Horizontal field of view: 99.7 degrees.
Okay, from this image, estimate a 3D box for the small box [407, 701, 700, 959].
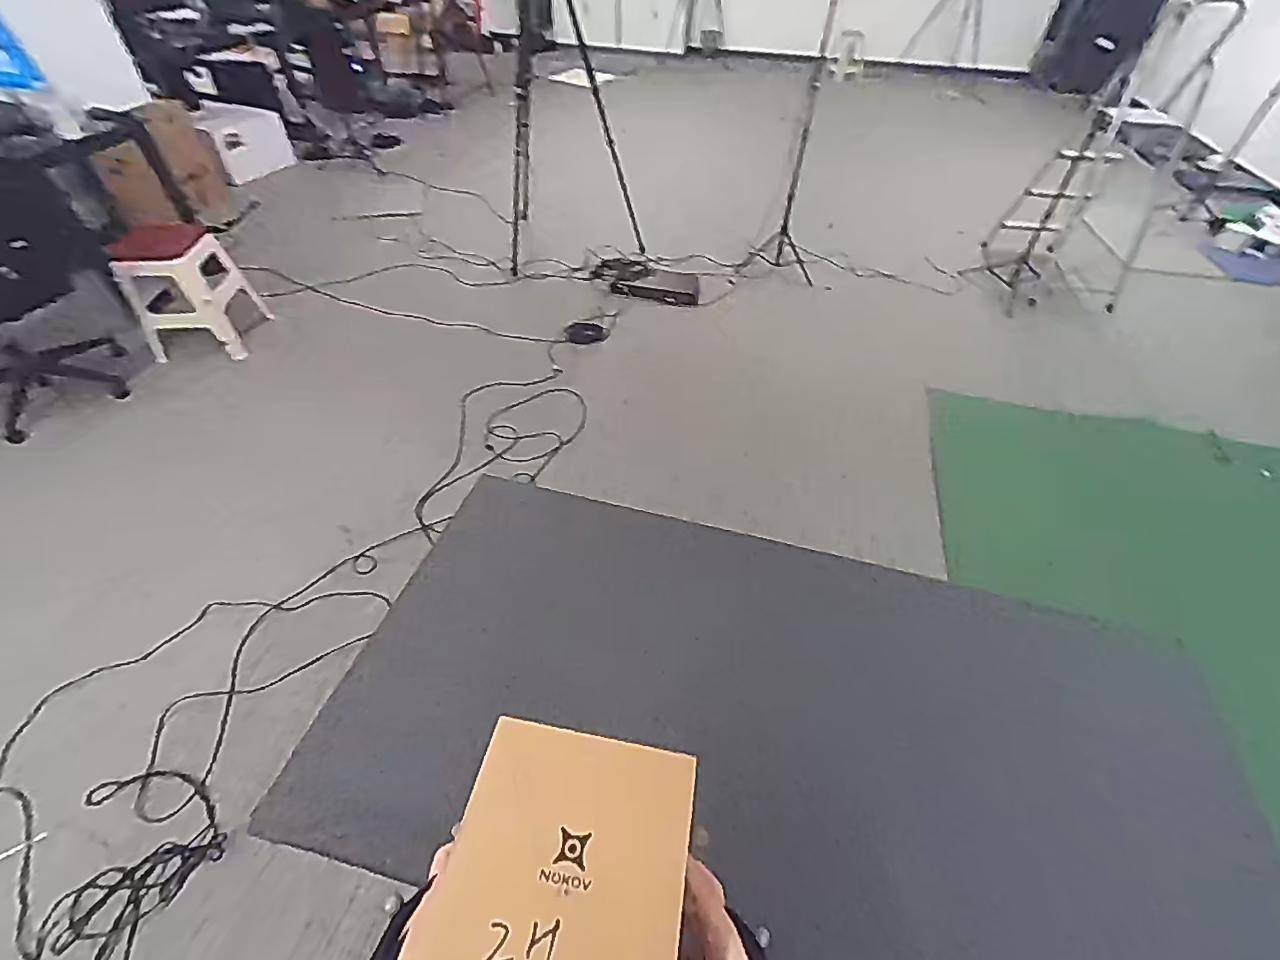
[{"bbox_3d":[-0.052,0.311,0.433,0.168,0.176,0.179,10,45,6],"label":"small box"}]
